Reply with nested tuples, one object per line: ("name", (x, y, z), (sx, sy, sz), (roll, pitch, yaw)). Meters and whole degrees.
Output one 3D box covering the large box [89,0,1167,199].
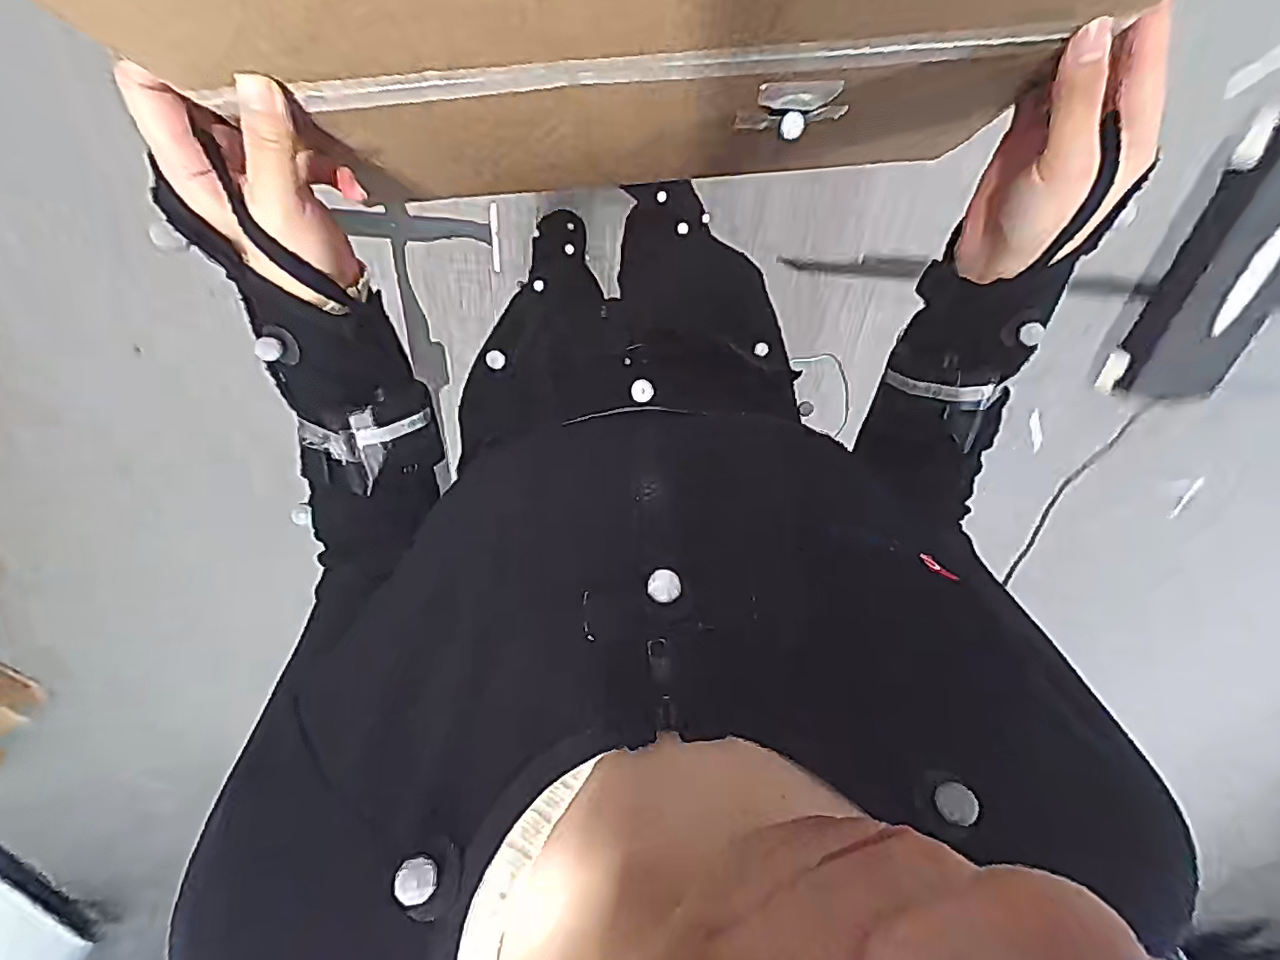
("large box", (0.000, -0.332, 0.206), (0.408, 0.320, 0.320), (-5, 102, -1))
